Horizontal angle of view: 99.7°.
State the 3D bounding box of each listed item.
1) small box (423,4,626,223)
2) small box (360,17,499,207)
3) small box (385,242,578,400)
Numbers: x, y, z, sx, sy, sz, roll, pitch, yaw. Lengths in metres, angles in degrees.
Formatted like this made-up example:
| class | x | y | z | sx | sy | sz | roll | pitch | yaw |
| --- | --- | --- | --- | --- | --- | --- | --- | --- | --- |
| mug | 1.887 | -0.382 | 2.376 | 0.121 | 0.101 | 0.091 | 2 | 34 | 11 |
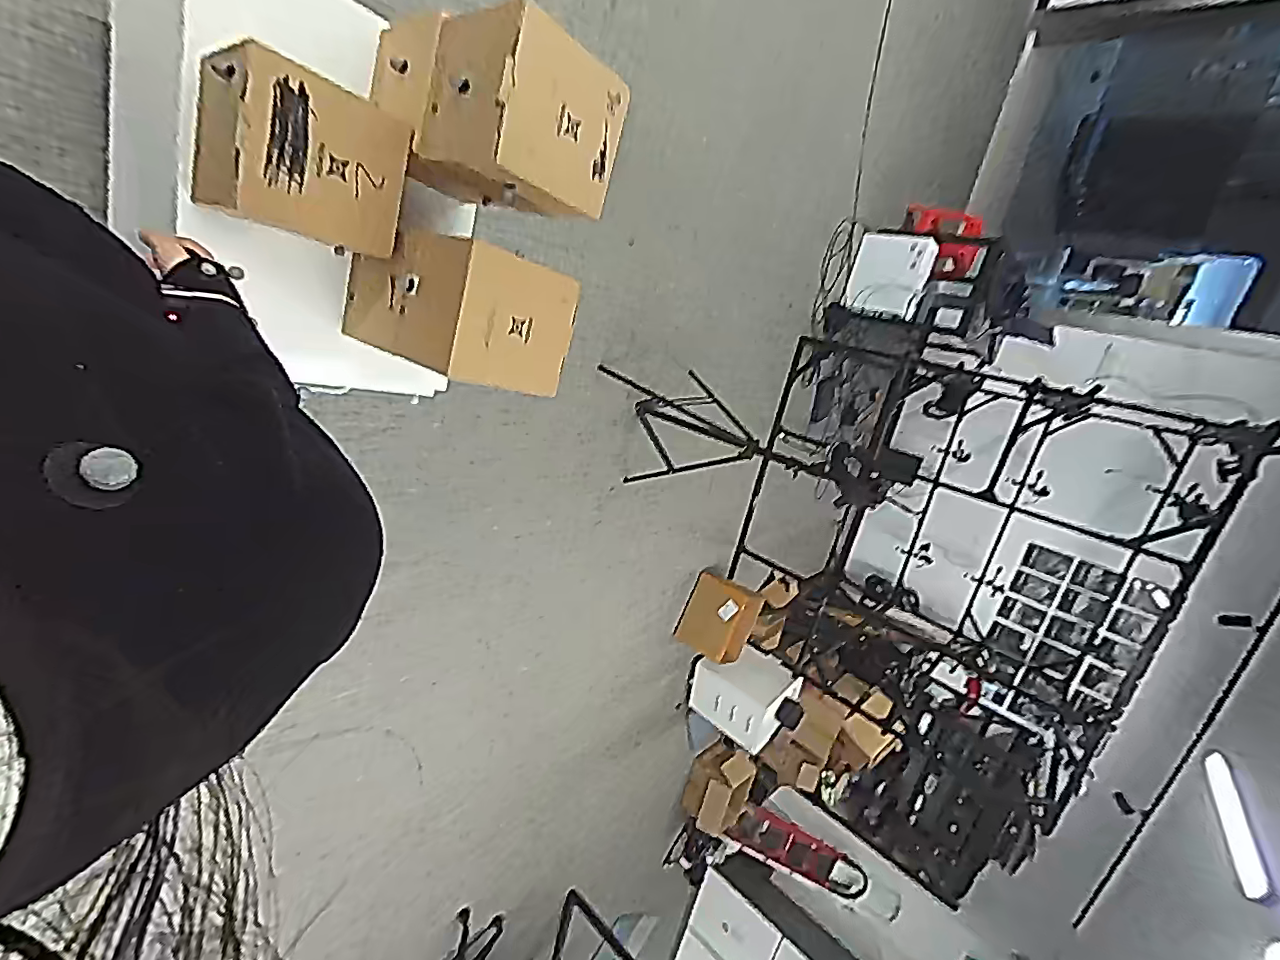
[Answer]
| class | x | y | z | sx | sy | sz | roll | pitch | yaw |
| --- | --- | --- | --- | --- | --- | --- | --- | --- | --- |
| small box | -0.152 | -0.450 | 0.697 | 0.179 | 0.176 | 0.168 | 1 | 109 | -51 |
| small box | -0.276 | -0.513 | 0.785 | 0.179 | 0.176 | 0.168 | 3 | 108 | -52 |
| small box | -0.219 | -0.218 | 0.747 | 0.179 | 0.176 | 0.168 | 1 | 108 | -50 |
